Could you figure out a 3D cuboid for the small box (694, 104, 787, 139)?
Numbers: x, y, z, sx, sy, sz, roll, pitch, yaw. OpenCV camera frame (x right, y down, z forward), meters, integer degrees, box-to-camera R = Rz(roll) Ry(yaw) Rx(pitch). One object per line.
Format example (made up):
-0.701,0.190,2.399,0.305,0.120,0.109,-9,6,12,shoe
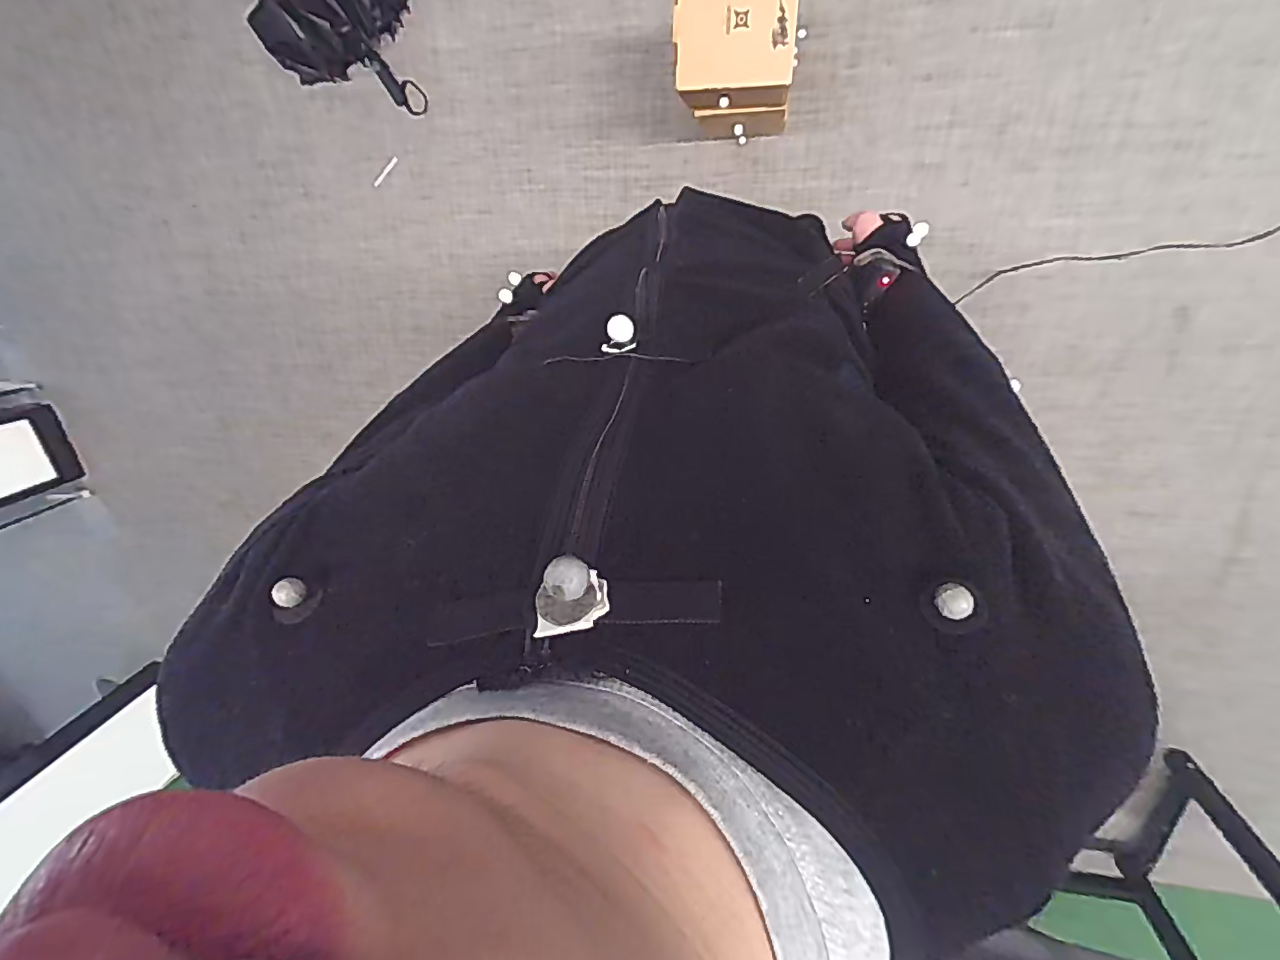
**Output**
0.190,-0.752,1.003,0.168,0.176,0.179,3,115,12,small box

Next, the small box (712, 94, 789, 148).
0.229,-0.824,1.146,0.168,0.176,0.179,2,116,12,small box

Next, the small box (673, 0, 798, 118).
0.154,-0.688,0.857,0.179,0.176,0.168,5,115,11,small box
